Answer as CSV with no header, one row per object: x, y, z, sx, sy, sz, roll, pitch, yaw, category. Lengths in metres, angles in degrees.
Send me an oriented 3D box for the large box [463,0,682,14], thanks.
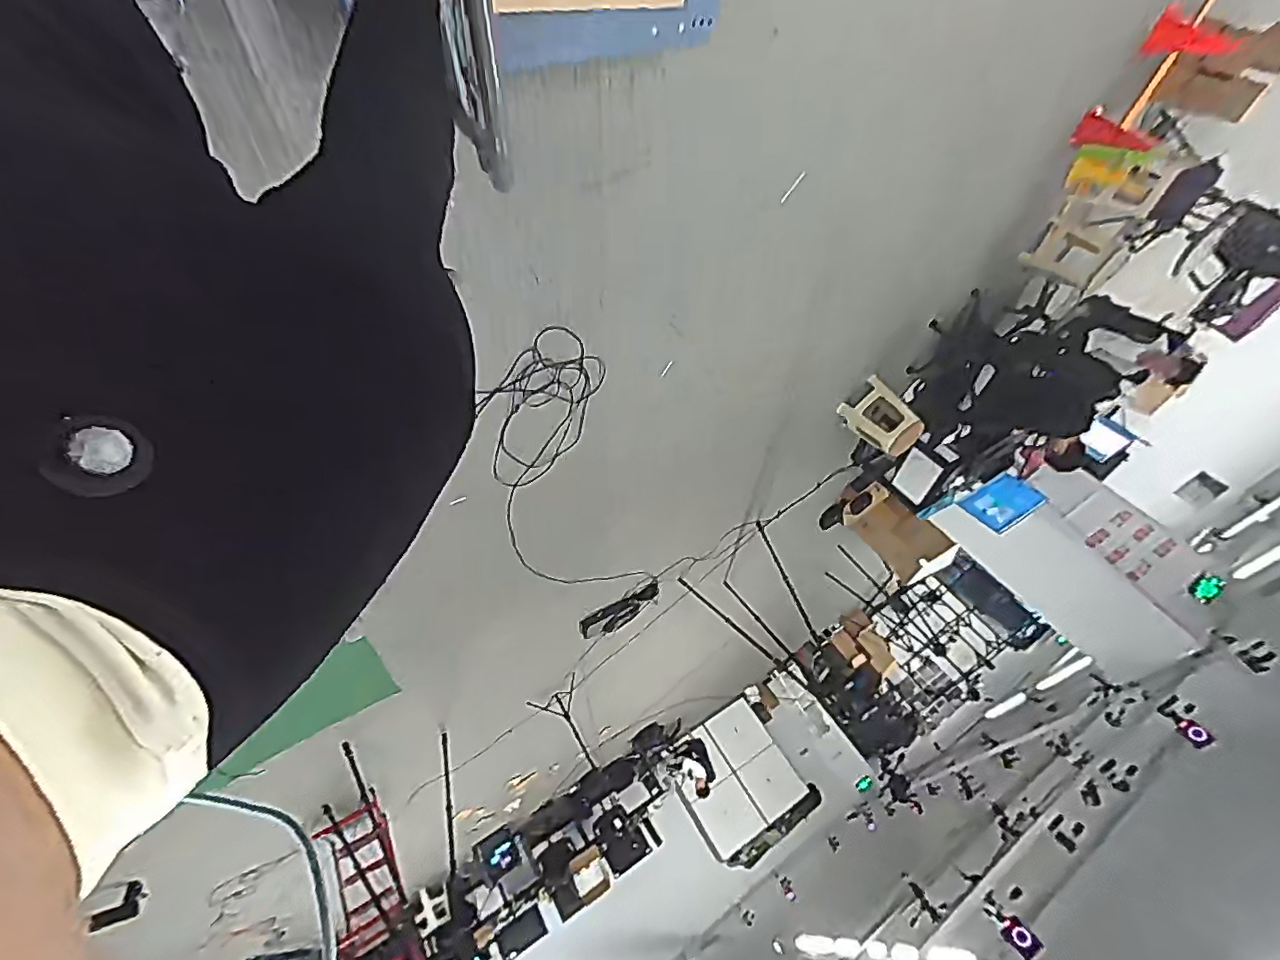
-0.157,-1.013,0.899,0.408,0.320,0.320,-24,146,-24,large box
